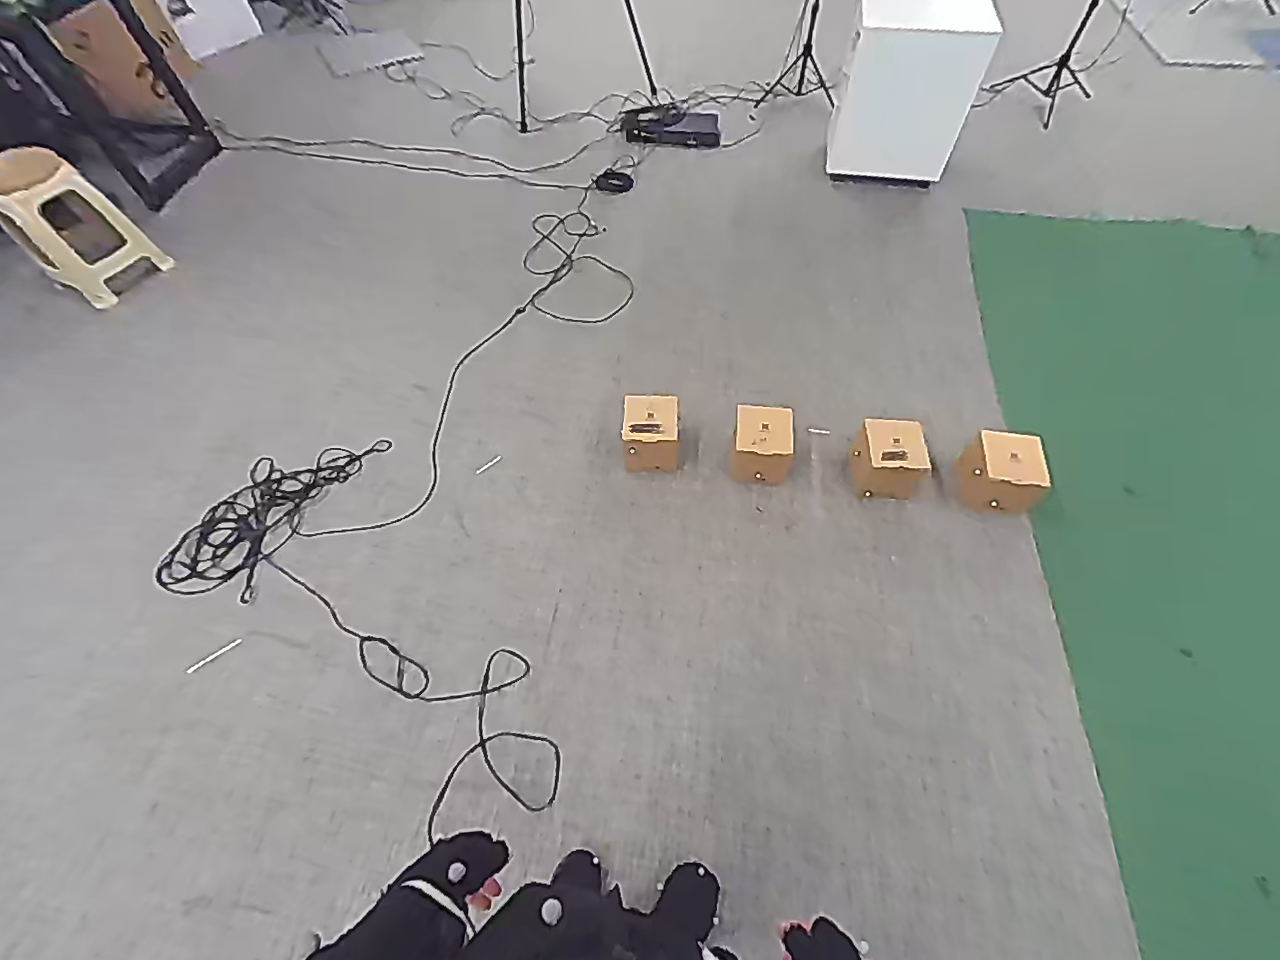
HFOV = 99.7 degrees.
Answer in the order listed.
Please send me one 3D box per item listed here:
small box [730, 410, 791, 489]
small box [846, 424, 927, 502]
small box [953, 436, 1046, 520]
[{"bbox_3d":[0.371,-0.094,1.680,0.168,0.176,0.179,5,58,6],"label":"small box"},{"bbox_3d":[0.741,-0.047,1.646,0.168,0.176,0.179,4,57,3],"label":"small box"},{"bbox_3d":[1.061,-0.006,1.615,0.168,0.176,0.179,8,58,7],"label":"small box"}]
